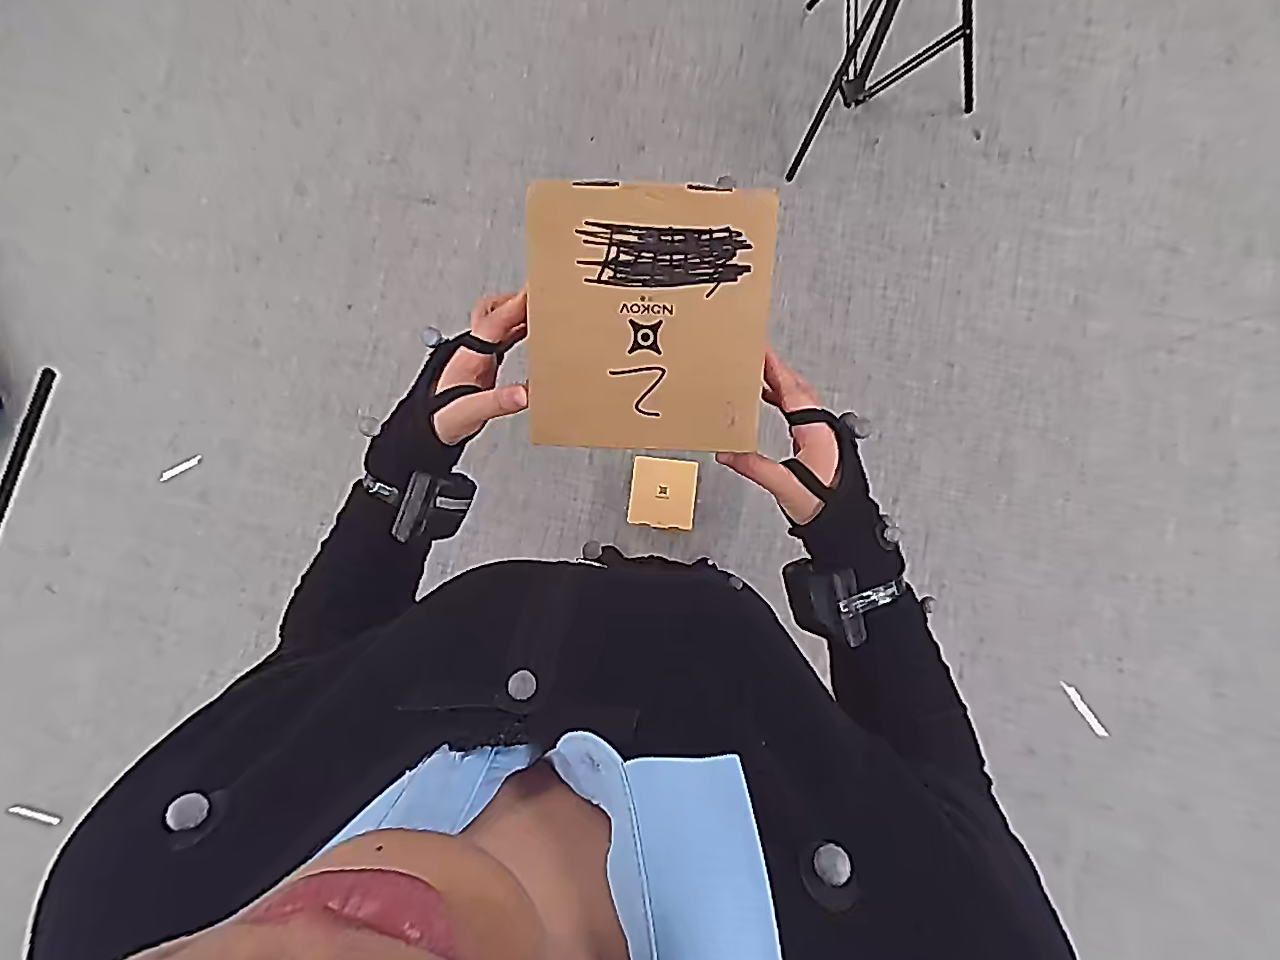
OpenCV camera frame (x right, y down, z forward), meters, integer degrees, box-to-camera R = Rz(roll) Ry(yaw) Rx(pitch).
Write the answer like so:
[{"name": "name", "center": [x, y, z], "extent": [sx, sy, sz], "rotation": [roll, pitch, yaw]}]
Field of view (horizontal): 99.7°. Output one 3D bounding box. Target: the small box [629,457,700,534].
[{"name": "small box", "center": [0.065, 0.045, 1.442], "extent": [0.168, 0.176, 0.179], "rotation": [6, 83, 4]}]
